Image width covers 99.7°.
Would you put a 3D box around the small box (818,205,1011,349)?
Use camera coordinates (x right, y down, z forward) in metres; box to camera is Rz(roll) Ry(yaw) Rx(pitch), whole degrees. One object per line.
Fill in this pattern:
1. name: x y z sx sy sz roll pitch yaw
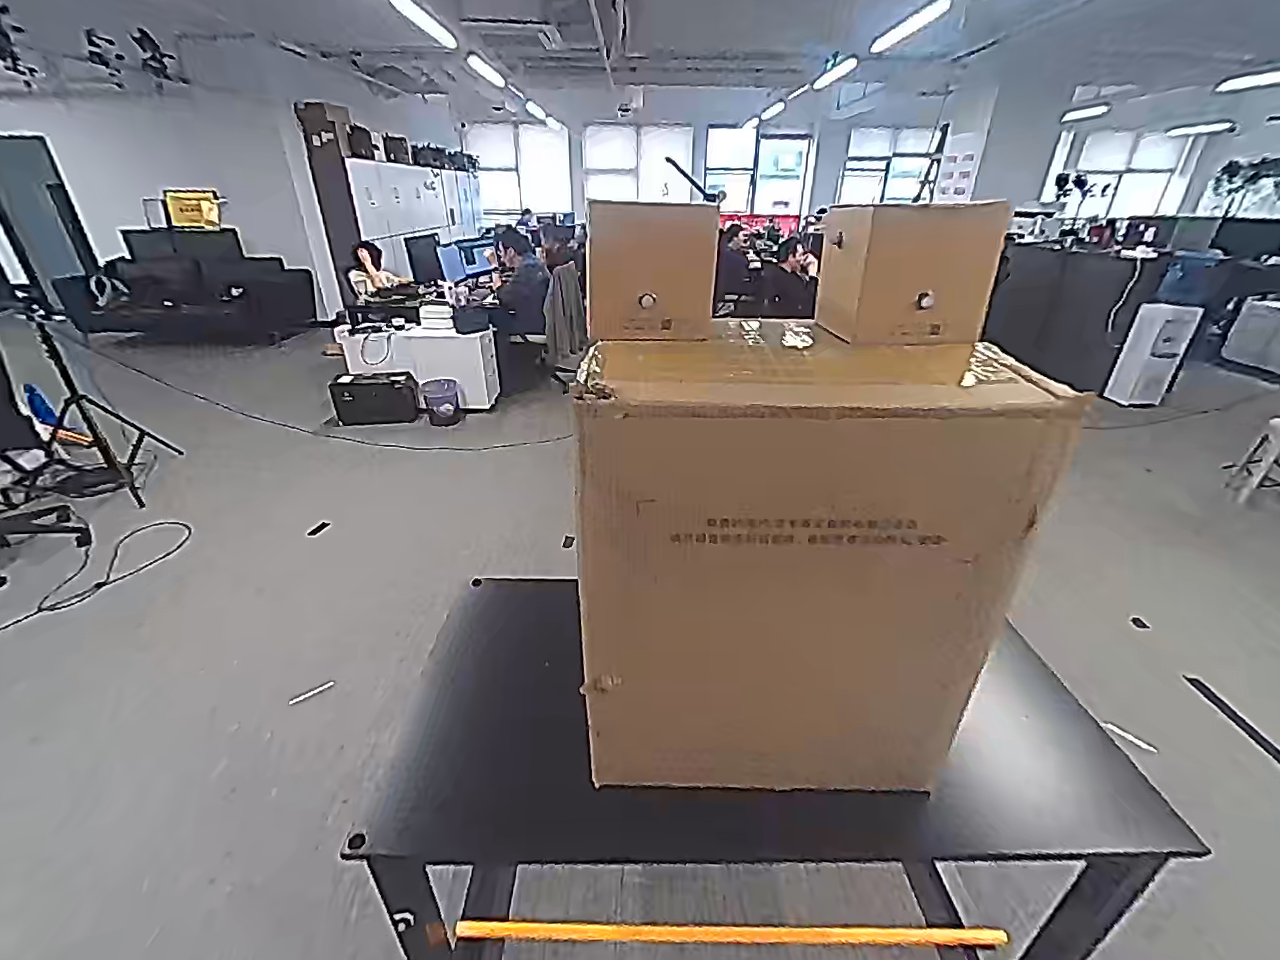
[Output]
1. small box: 0.358 -0.283 0.747 0.168 0.176 0.179 -1 26 0

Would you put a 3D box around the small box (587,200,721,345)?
1. small box: 0.009 -0.295 0.765 0.168 0.176 0.179 -1 27 -6
